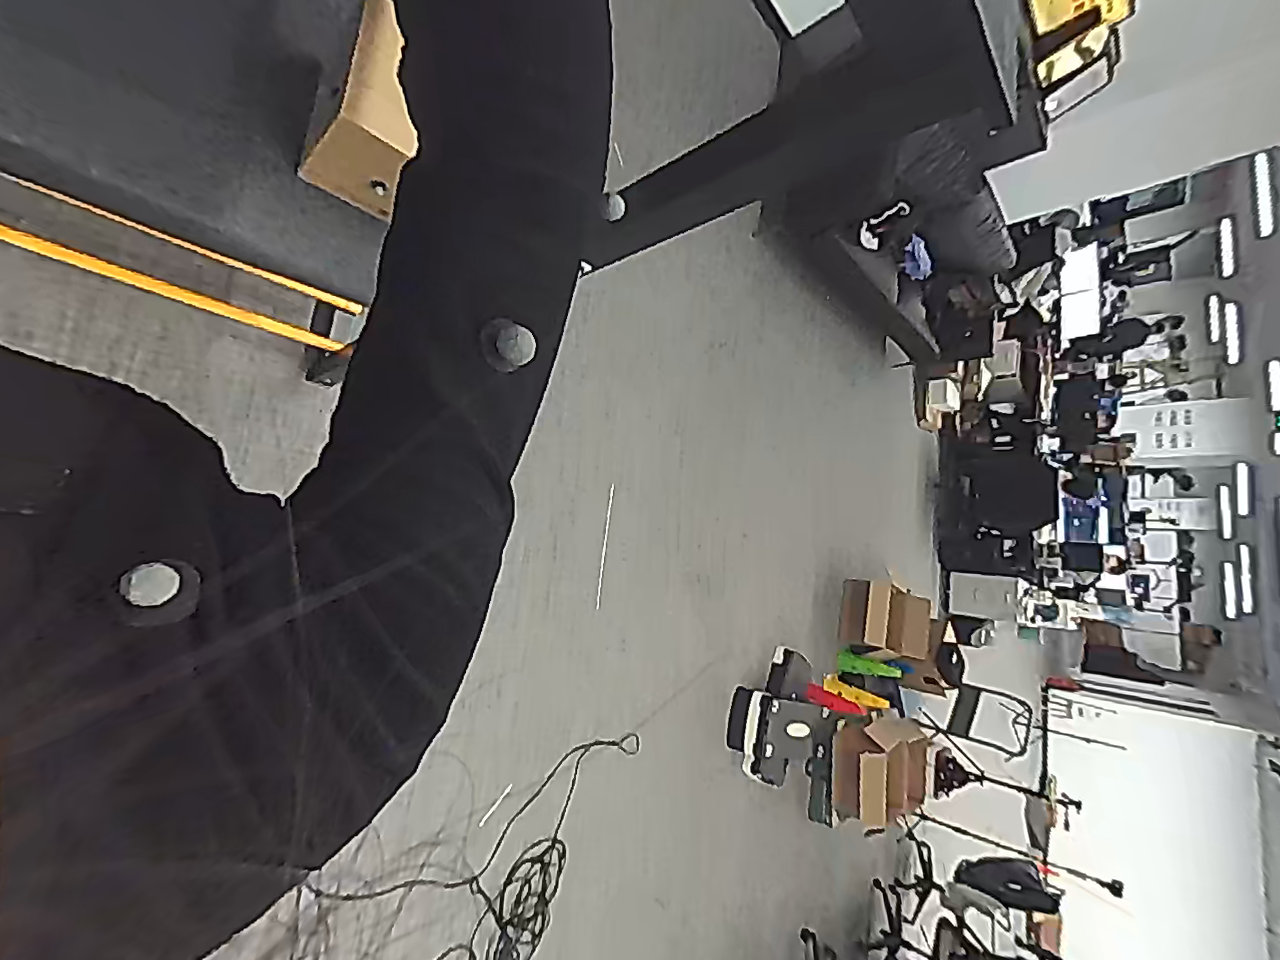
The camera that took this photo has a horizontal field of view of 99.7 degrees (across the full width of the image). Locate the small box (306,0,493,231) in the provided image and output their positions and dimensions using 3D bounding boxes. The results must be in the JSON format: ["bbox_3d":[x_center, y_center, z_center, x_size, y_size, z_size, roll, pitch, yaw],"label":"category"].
[{"bbox_3d":[-0.324,-0.471,0.724,0.168,0.176,0.179,16,76,-45],"label":"small box"}]
